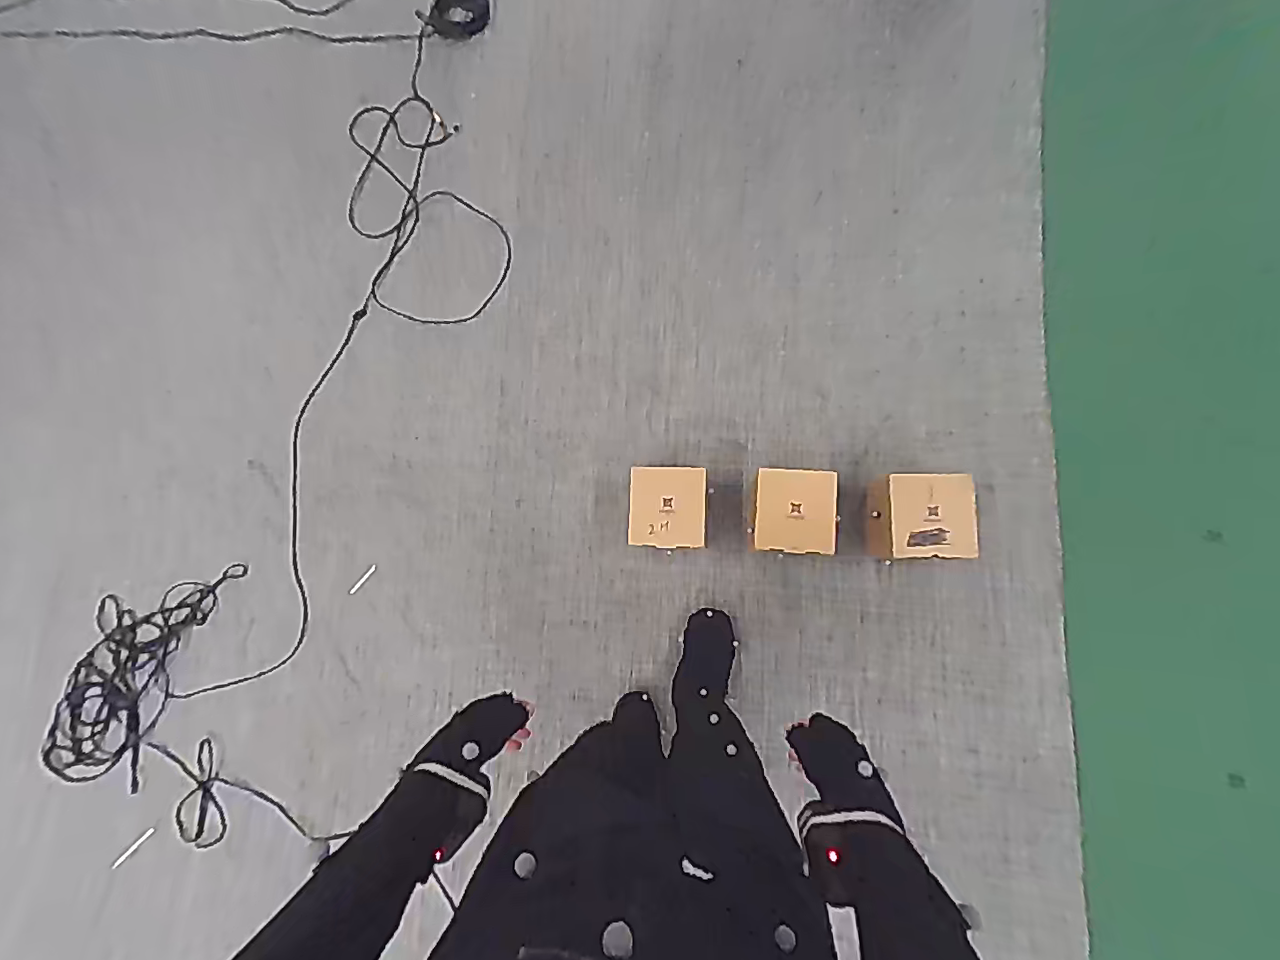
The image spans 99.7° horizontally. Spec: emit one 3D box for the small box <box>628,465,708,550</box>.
[{"bbox_3d":[0.069,0.067,1.240,0.168,0.176,0.179,1,82,9],"label":"small box"}]

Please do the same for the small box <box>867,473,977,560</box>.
[{"bbox_3d":[0.602,0.083,1.172,0.168,0.176,0.179,0,81,7],"label":"small box"}]

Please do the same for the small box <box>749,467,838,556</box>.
[{"bbox_3d":[0.335,0.074,1.208,0.168,0.176,0.179,3,82,7],"label":"small box"}]
